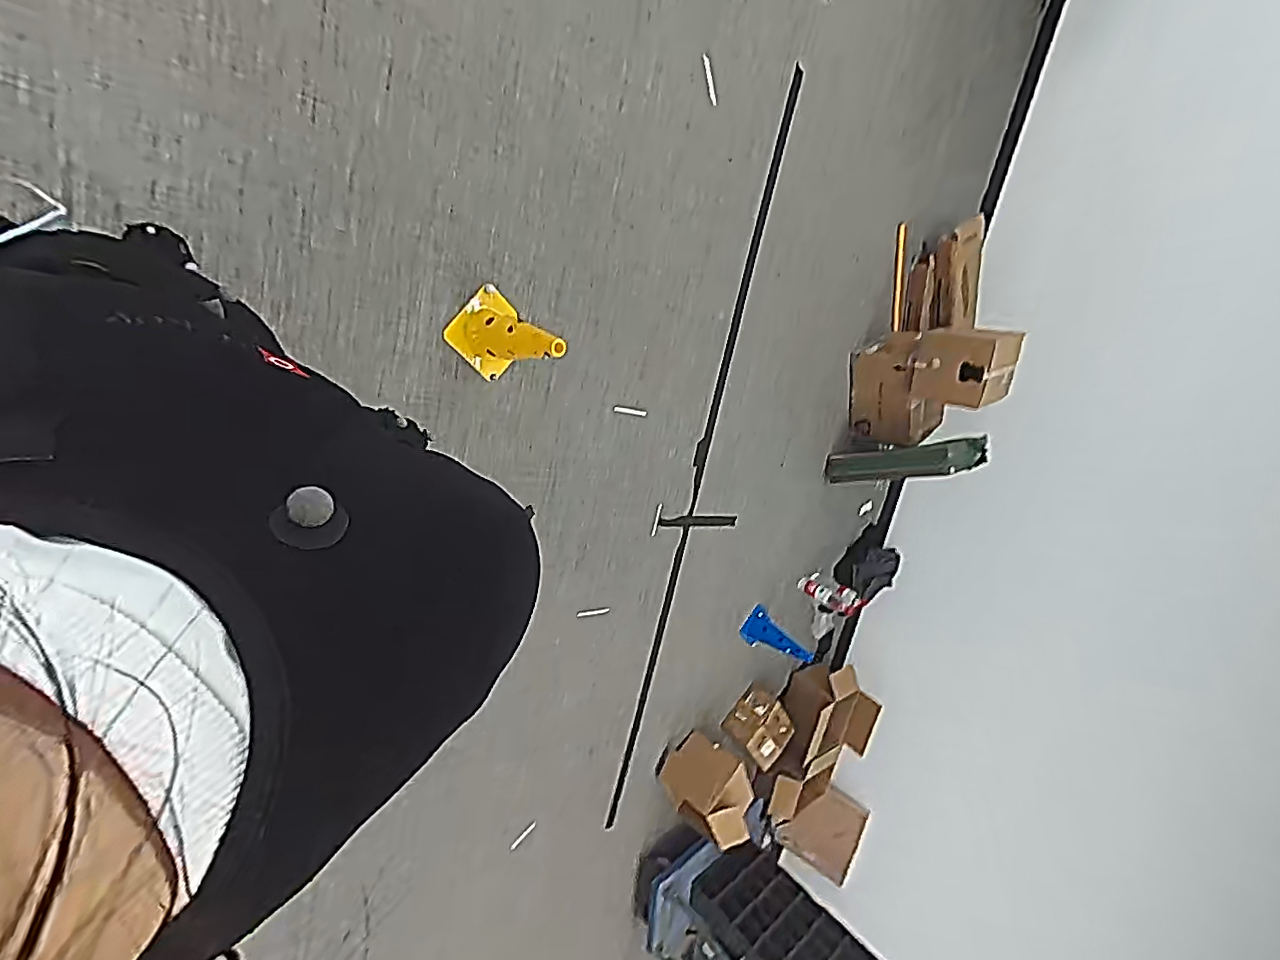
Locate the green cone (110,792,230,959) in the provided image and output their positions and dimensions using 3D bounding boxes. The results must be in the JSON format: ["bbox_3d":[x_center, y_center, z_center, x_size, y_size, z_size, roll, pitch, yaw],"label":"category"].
[{"bbox_3d":[-1.059,0.945,1.229,0.202,0.368,0.200,-15,116,-37],"label":"green cone"}]
